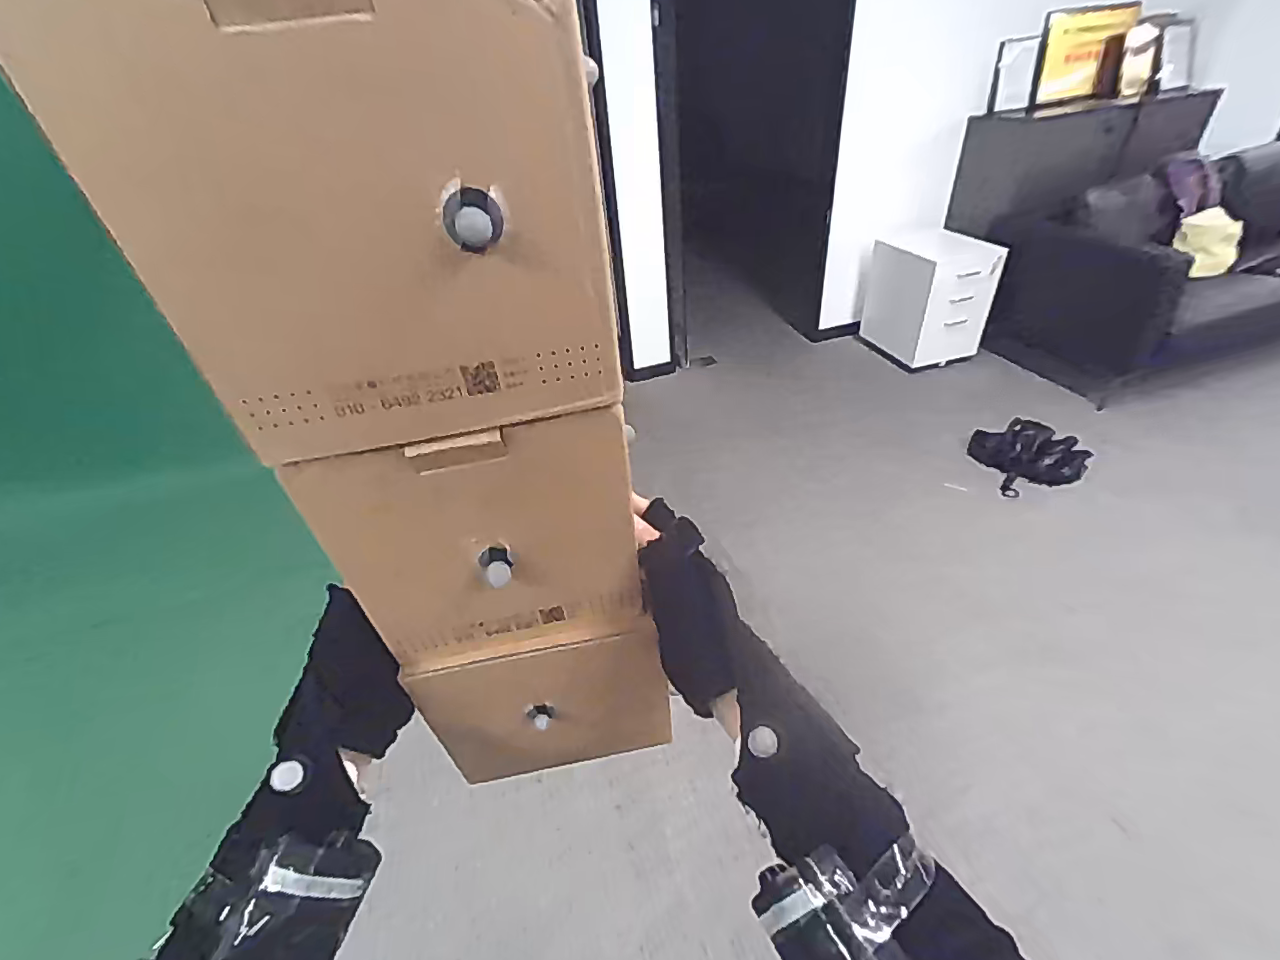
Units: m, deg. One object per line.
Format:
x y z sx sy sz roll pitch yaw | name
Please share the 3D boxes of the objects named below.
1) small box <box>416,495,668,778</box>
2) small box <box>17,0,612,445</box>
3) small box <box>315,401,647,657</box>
-0.073 0.139 0.487 0.179 0.176 0.168 -10 39 -3 | small box
-0.113 -0.130 0.279 0.168 0.176 0.179 -10 38 -6 | small box
-0.097 0.007 0.398 0.168 0.176 0.179 -13 39 -6 | small box
